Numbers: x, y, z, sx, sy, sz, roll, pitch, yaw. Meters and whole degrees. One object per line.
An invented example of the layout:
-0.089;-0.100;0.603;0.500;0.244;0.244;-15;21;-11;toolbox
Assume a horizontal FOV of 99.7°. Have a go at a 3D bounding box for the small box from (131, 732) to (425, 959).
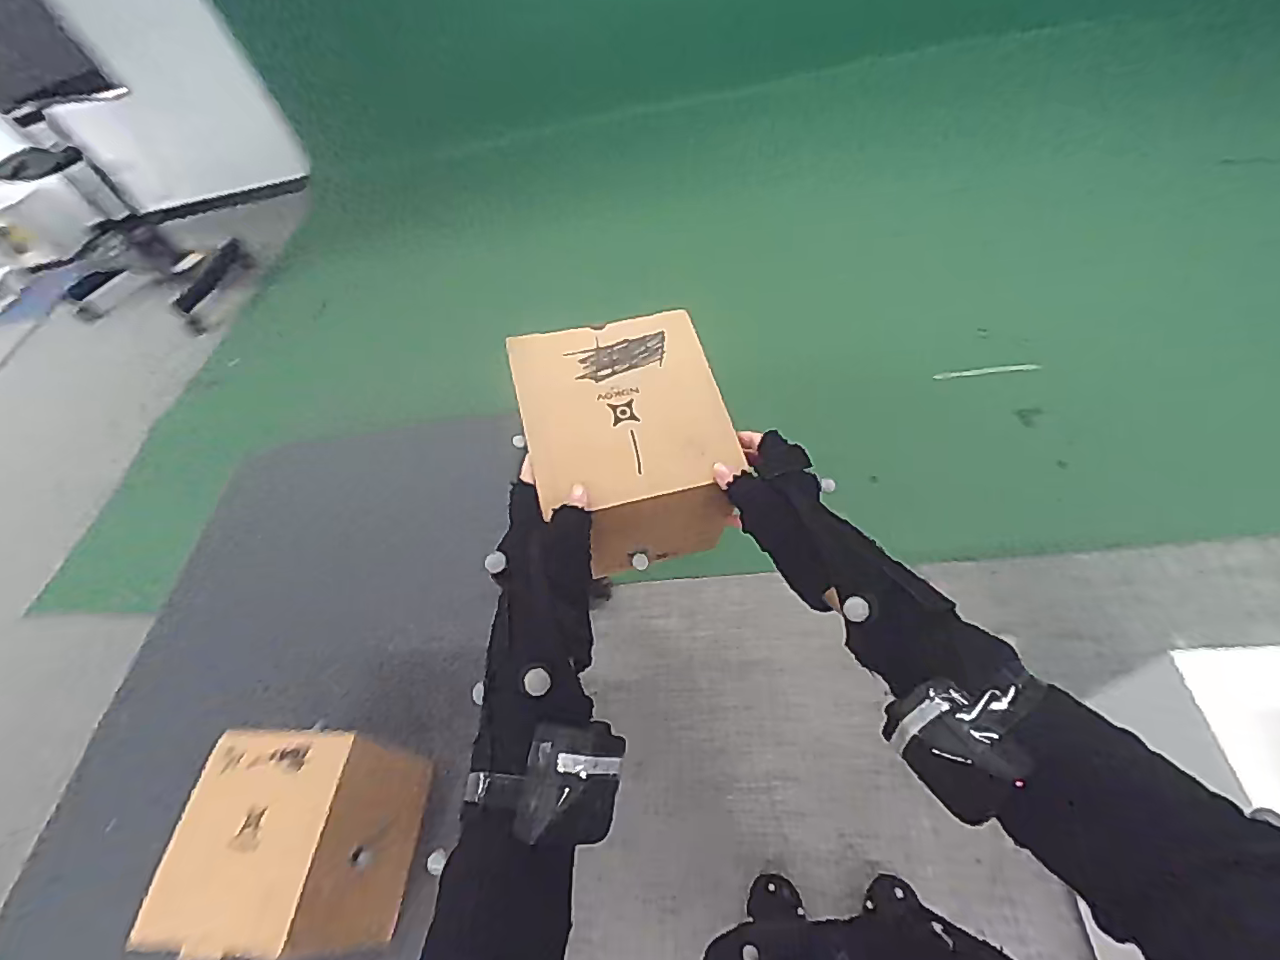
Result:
-0.361;0.381;0.582;0.168;0.176;0.179;-5;55;12;small box
